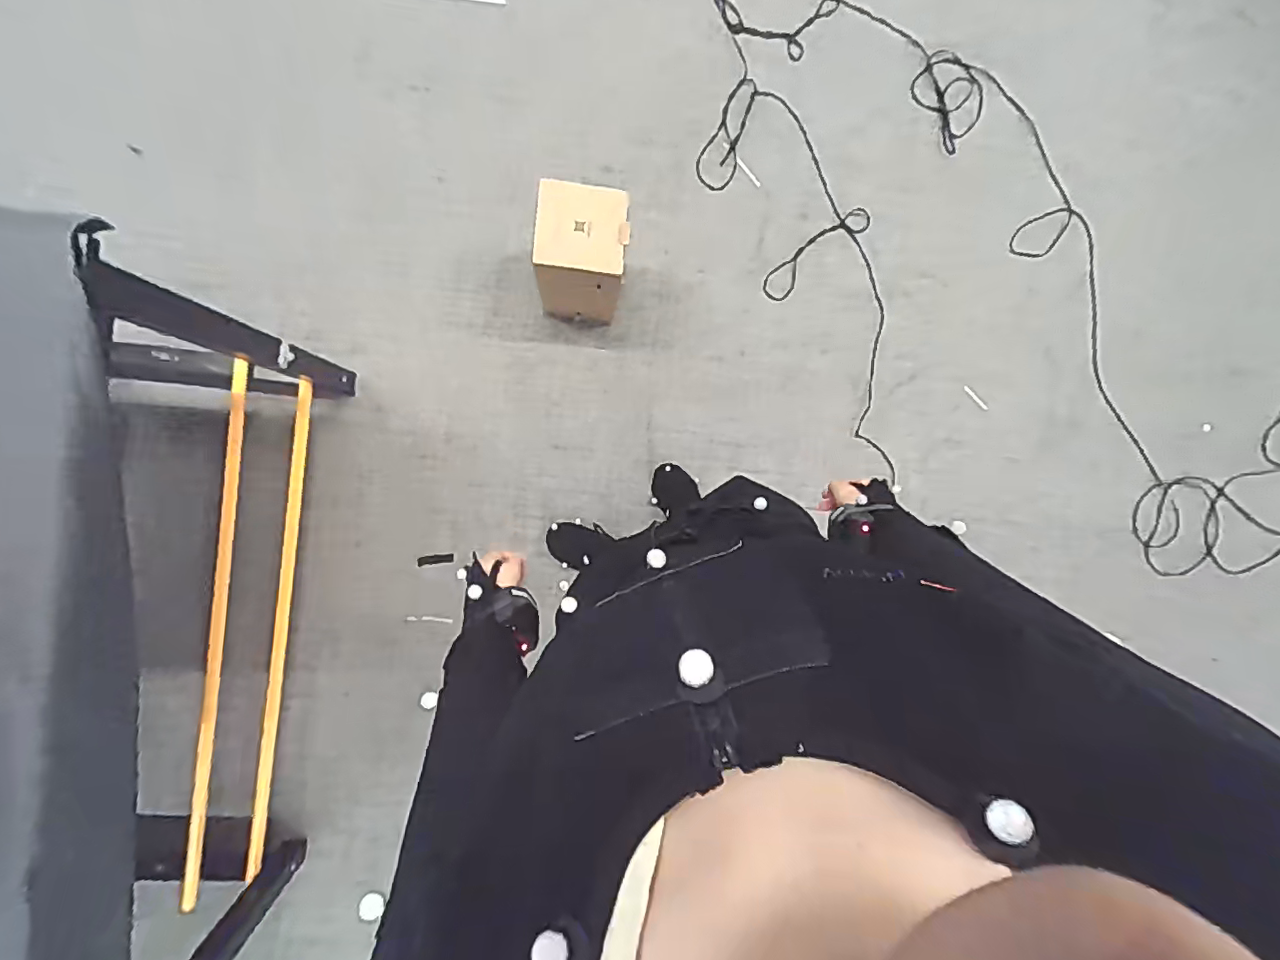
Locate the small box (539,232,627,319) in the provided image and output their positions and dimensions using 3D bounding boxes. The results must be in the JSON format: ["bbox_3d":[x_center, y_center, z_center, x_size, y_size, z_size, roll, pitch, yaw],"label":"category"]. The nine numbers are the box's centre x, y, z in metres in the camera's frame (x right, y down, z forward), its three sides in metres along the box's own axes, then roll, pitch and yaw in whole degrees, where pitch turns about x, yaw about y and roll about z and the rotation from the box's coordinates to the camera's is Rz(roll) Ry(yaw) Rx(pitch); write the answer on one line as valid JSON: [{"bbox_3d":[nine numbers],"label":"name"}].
[{"bbox_3d":[-0.137,-0.490,1.266,0.179,0.176,0.168,8,89,-8],"label":"small box"}]

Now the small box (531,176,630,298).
[{"bbox_3d":[-0.121,-0.485,1.105,0.179,0.176,0.168,5,89,-6],"label":"small box"}]
